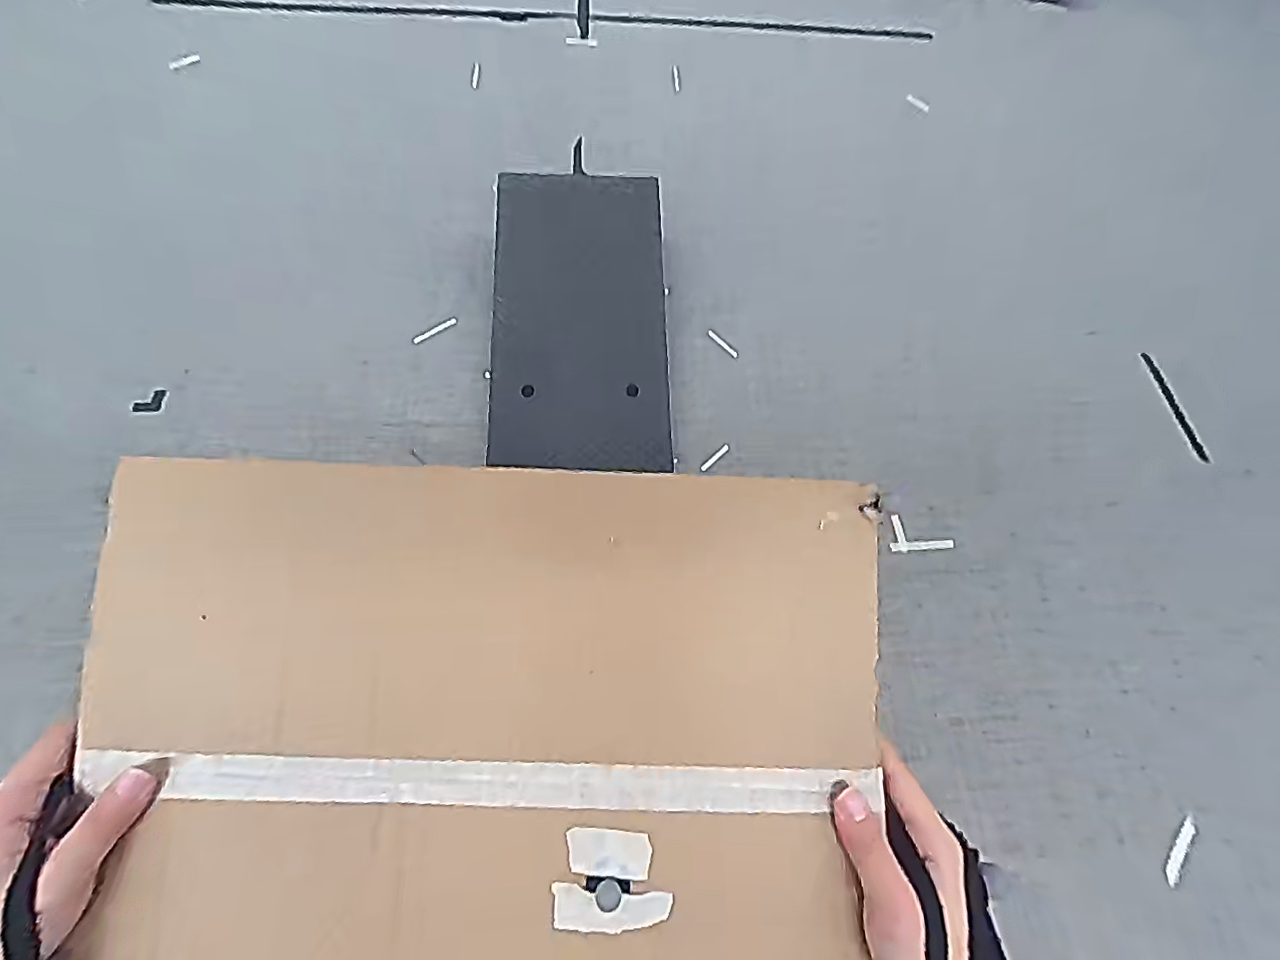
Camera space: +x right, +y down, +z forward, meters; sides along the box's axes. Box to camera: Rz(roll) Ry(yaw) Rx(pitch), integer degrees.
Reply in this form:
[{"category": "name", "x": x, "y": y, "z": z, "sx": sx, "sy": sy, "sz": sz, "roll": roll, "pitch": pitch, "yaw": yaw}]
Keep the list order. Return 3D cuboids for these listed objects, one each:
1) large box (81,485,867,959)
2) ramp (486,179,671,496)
[{"category": "large box", "x": -0.083, "y": 0.176, "z": 0.433, "sx": 0.408, "sy": 0.320, "sz": 0.320, "roll": 2, "pitch": 85, "yaw": -2}, {"category": "ramp", "x": -0.171, "y": -0.429, "z": 1.540, "sx": 0.509, "sy": 0.206, "sz": 0.991, "roll": -2, "pitch": 66, "yaw": -6}]
